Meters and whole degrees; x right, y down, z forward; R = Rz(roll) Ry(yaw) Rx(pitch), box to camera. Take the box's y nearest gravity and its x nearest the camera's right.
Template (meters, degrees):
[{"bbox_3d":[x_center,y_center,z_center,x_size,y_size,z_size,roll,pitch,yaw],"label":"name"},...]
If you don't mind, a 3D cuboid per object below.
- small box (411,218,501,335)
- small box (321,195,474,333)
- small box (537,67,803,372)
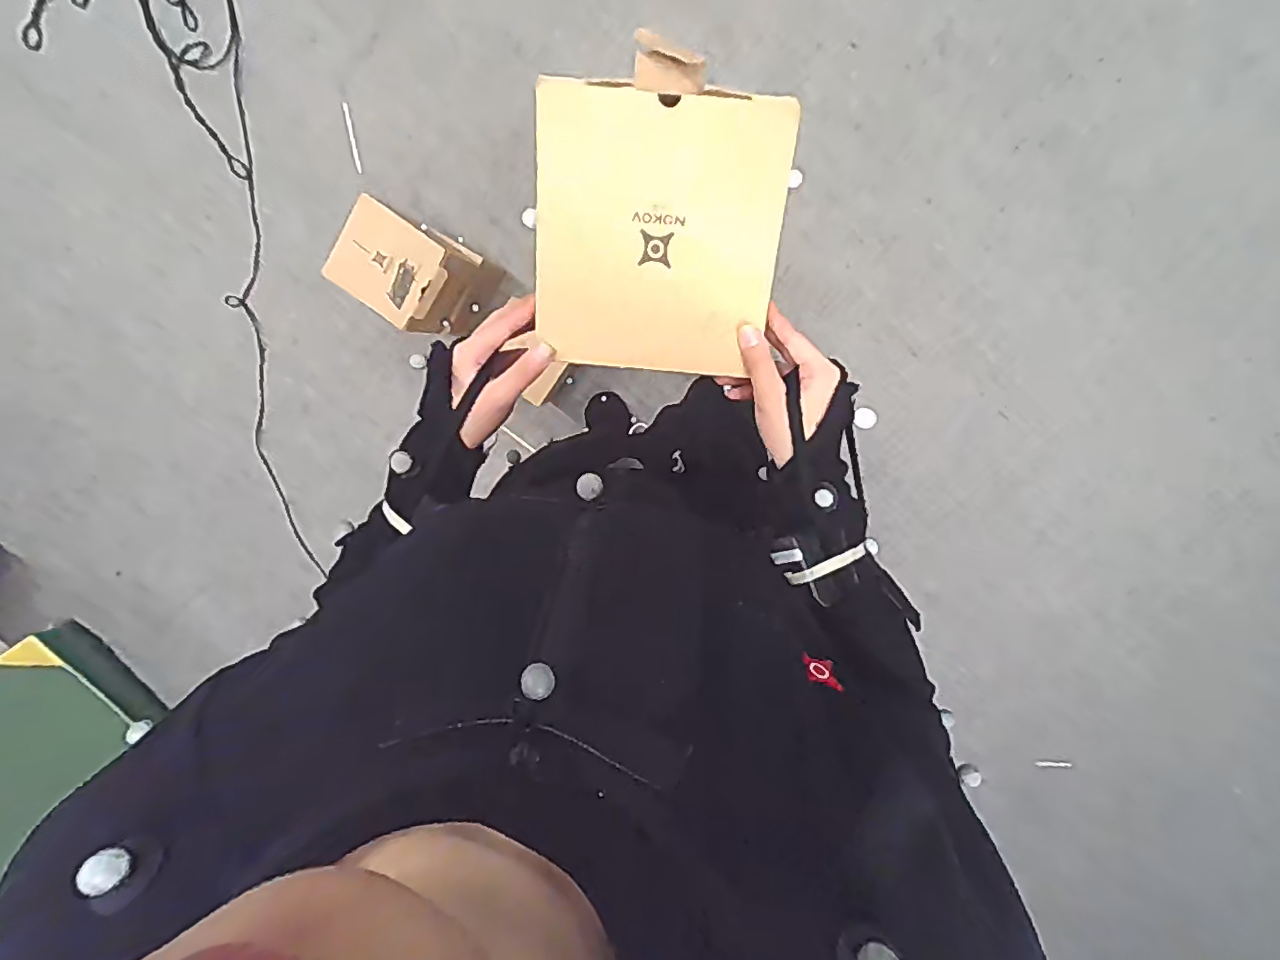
[{"bbox_3d":[-0.428,-0.433,1.185,0.168,0.176,0.179,30,103,-4],"label":"small box"},{"bbox_3d":[-0.446,-0.396,1.024,0.179,0.176,0.168,35,102,-5],"label":"small box"},{"bbox_3d":[0.016,-0.196,0.435,0.168,0.176,0.179,5,112,0],"label":"small box"}]
